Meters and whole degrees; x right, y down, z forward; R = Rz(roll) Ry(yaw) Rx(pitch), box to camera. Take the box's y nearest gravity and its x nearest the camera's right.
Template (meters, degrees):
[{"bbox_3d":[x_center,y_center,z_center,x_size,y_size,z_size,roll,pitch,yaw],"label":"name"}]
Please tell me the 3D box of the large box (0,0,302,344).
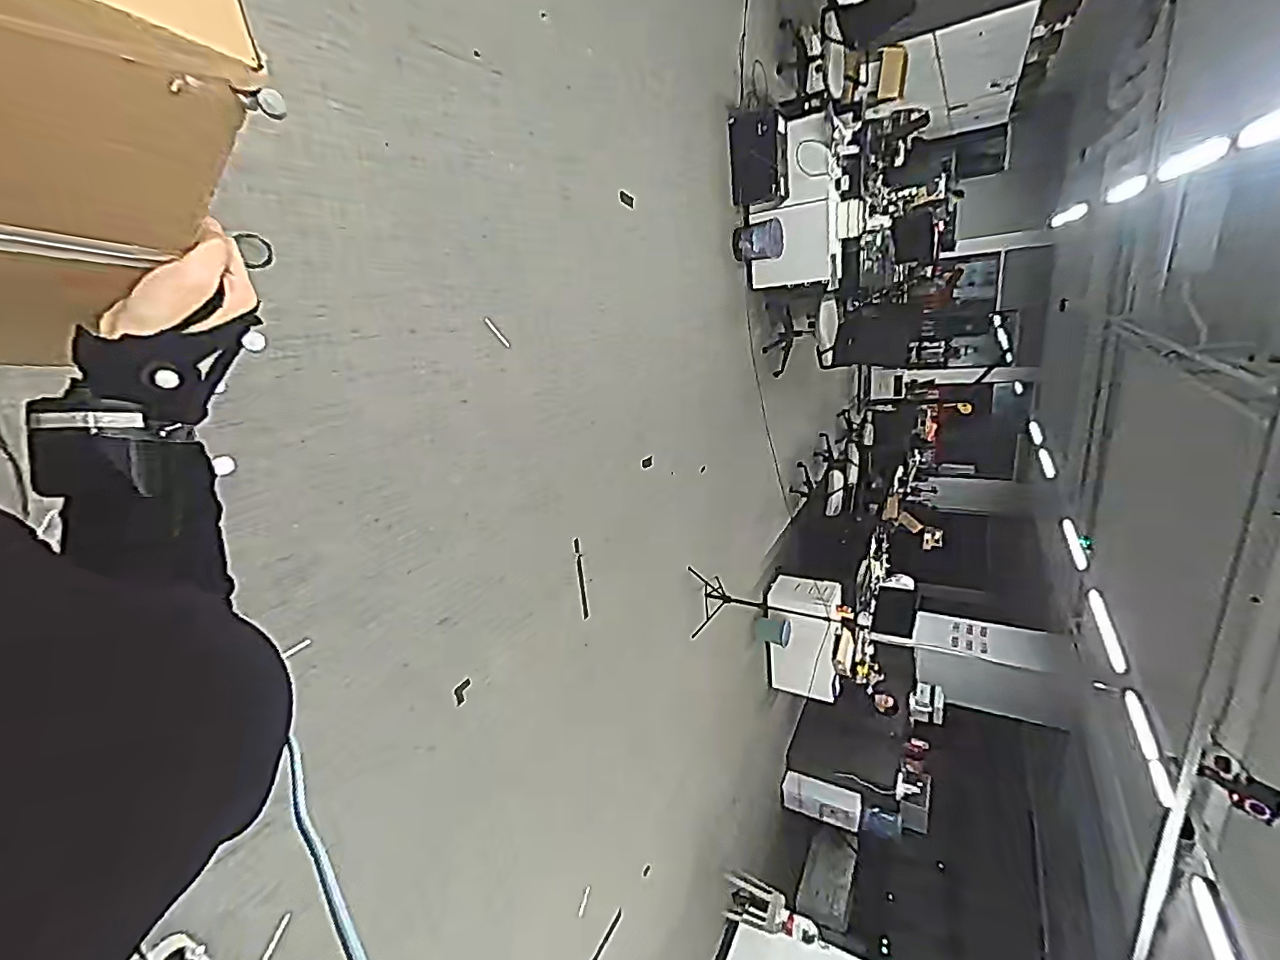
[{"bbox_3d":[-0.437,-0.268,0.200,0.408,0.320,0.320,-15,83,-53],"label":"large box"}]
